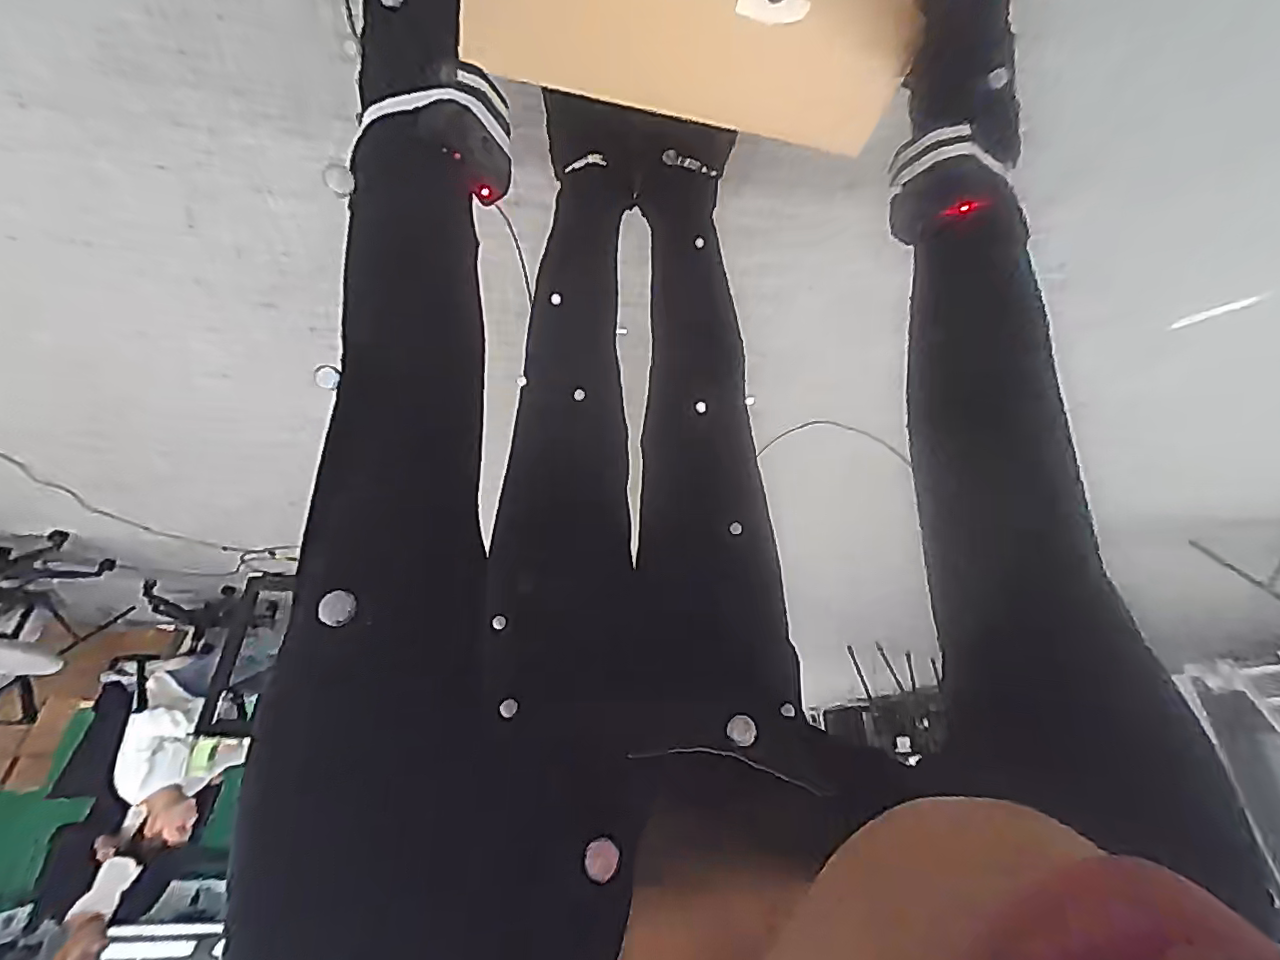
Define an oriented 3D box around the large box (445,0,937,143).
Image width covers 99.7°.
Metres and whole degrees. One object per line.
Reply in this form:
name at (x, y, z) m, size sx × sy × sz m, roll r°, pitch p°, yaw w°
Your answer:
large box at (0.052, -0.554, 0.457) m, size 0.408 × 0.320 × 0.320 m, roll 5°, pitch 149°, yaw -10°
